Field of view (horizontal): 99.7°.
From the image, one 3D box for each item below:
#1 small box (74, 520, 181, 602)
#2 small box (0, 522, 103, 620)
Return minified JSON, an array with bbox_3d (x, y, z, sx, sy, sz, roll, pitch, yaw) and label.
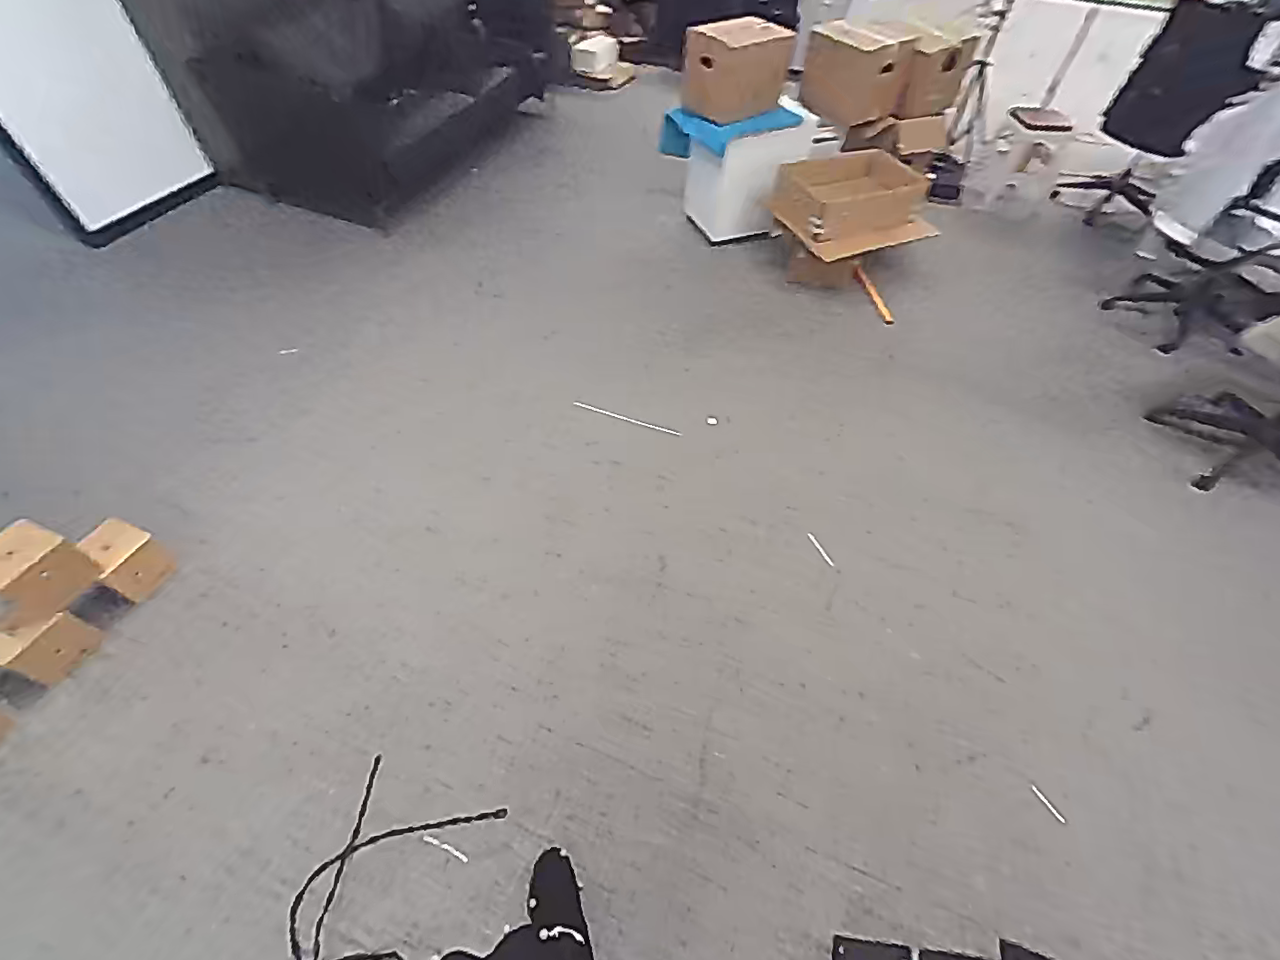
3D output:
[{"bbox_3d":[-1.593,0.257,1.671,0.179,0.176,0.168,19,54,12],"label":"small box"},{"bbox_3d":[-1.643,0.251,1.465,0.168,0.176,0.179,18,51,10],"label":"small box"}]
